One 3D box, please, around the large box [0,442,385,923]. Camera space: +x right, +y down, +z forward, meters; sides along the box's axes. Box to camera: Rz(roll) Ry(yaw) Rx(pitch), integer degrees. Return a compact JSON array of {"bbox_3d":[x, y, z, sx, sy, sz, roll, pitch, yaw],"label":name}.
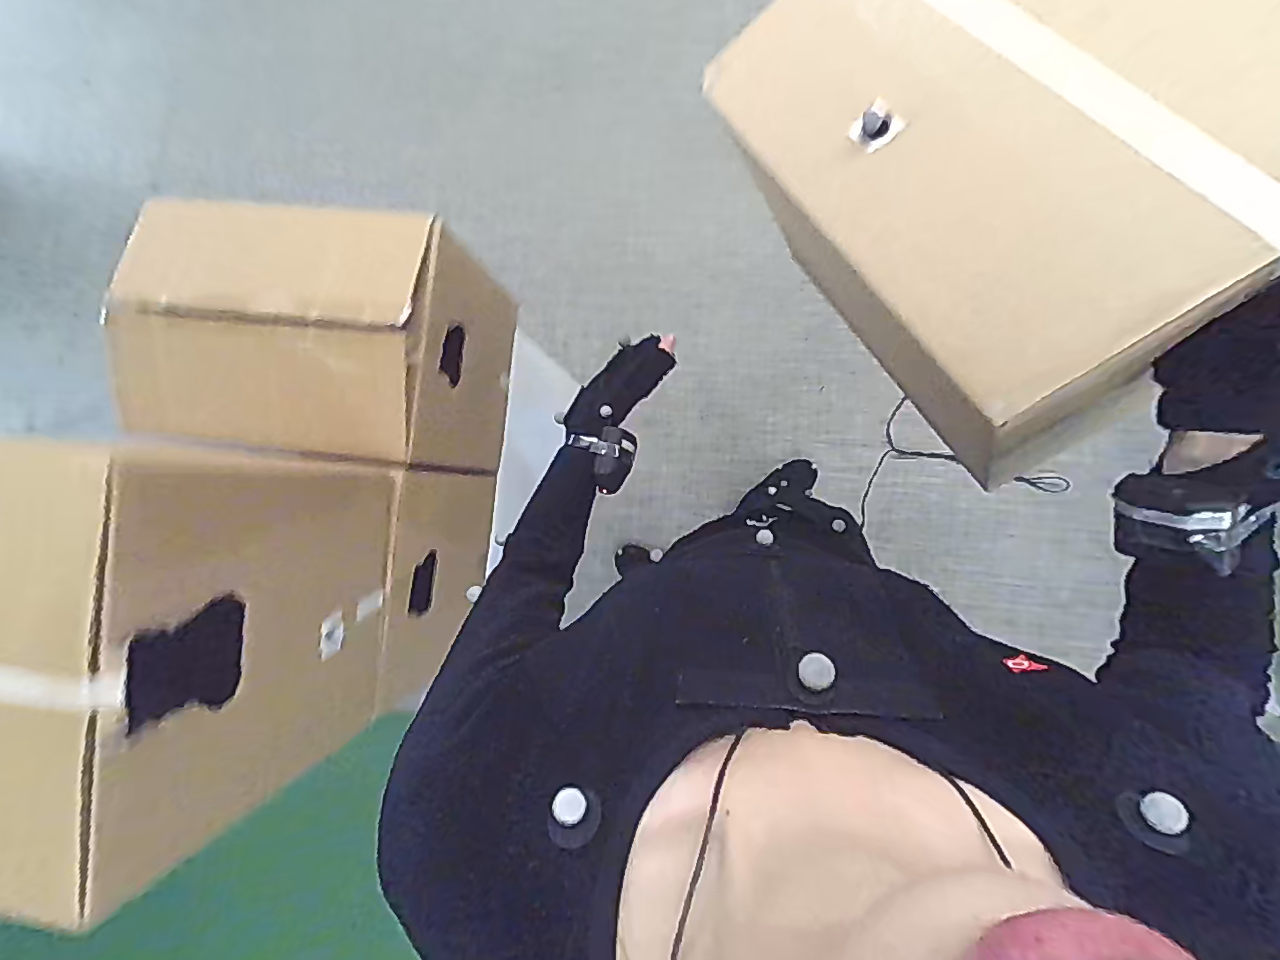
[{"bbox_3d":[-0.519,0.126,0.521,0.408,0.320,0.320,4,89,8],"label":"large box"}]
